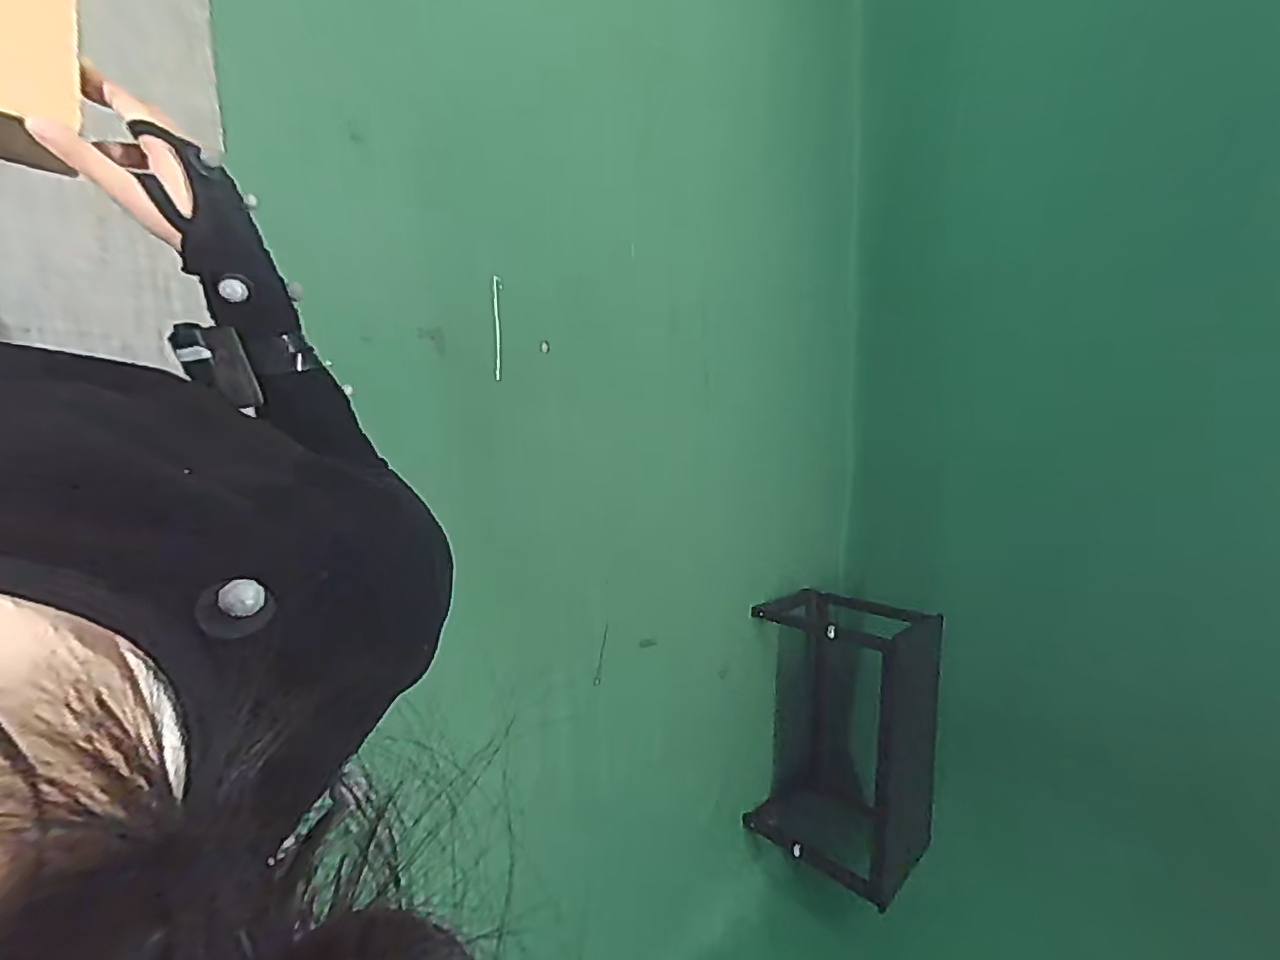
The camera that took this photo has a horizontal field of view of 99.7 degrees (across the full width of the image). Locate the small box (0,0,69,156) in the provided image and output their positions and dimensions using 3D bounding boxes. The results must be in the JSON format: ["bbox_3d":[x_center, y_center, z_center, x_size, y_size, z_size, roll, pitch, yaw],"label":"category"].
[{"bbox_3d":[-0.453,-0.319,0.312,0.168,0.176,0.179,-3,104,-47],"label":"small box"}]
